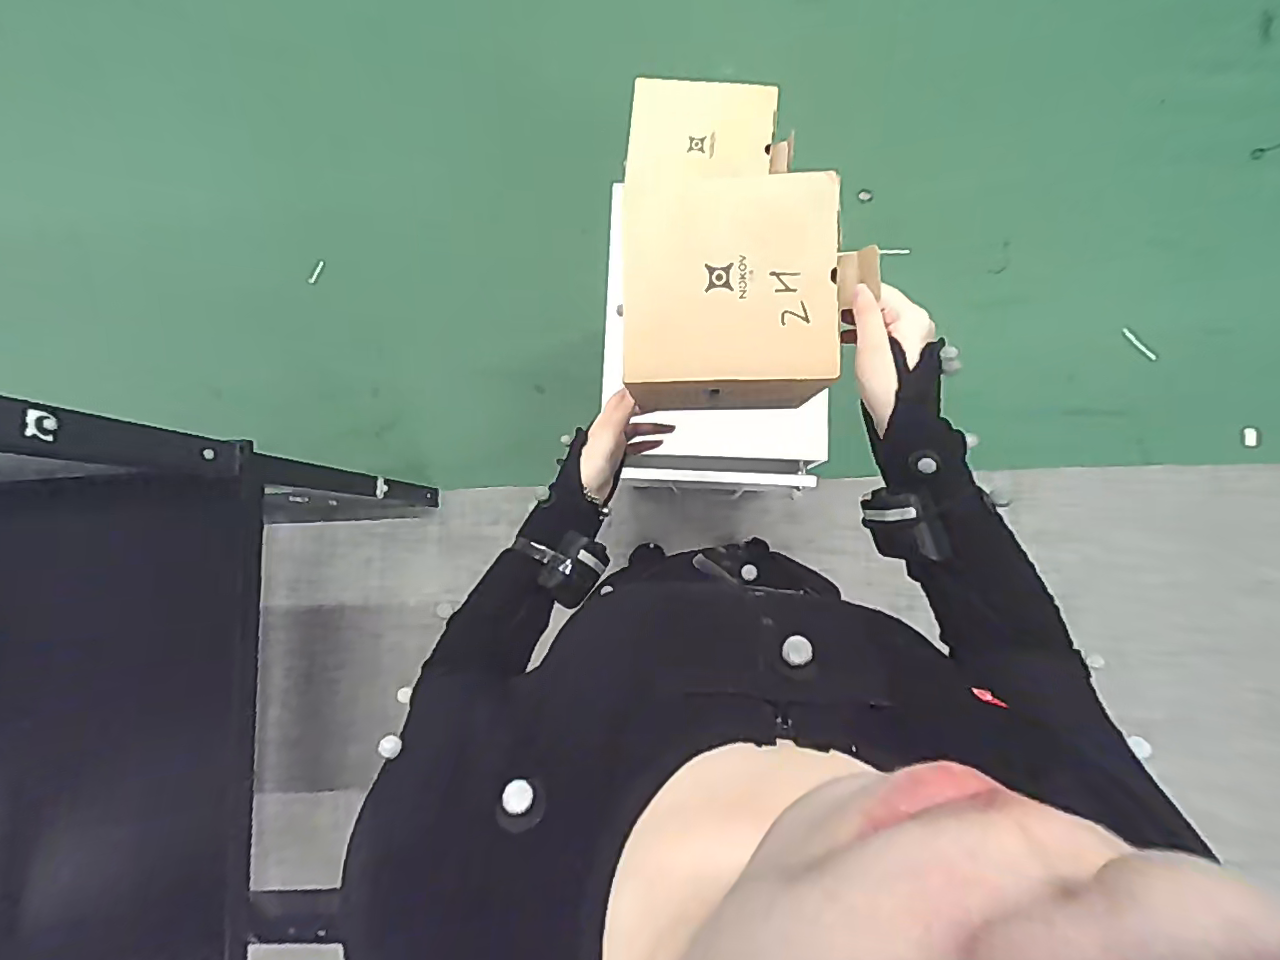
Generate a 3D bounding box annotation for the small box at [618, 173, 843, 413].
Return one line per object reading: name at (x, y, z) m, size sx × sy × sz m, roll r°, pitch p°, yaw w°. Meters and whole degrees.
small box at (0.077, -0.154, 0.503) m, size 0.179 × 0.176 × 0.168 m, roll 0°, pitch 89°, yaw 5°

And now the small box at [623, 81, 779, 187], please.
small box at (0.076, -0.384, 0.719) m, size 0.179 × 0.176 × 0.168 m, roll 5°, pitch 84°, yaw 3°
